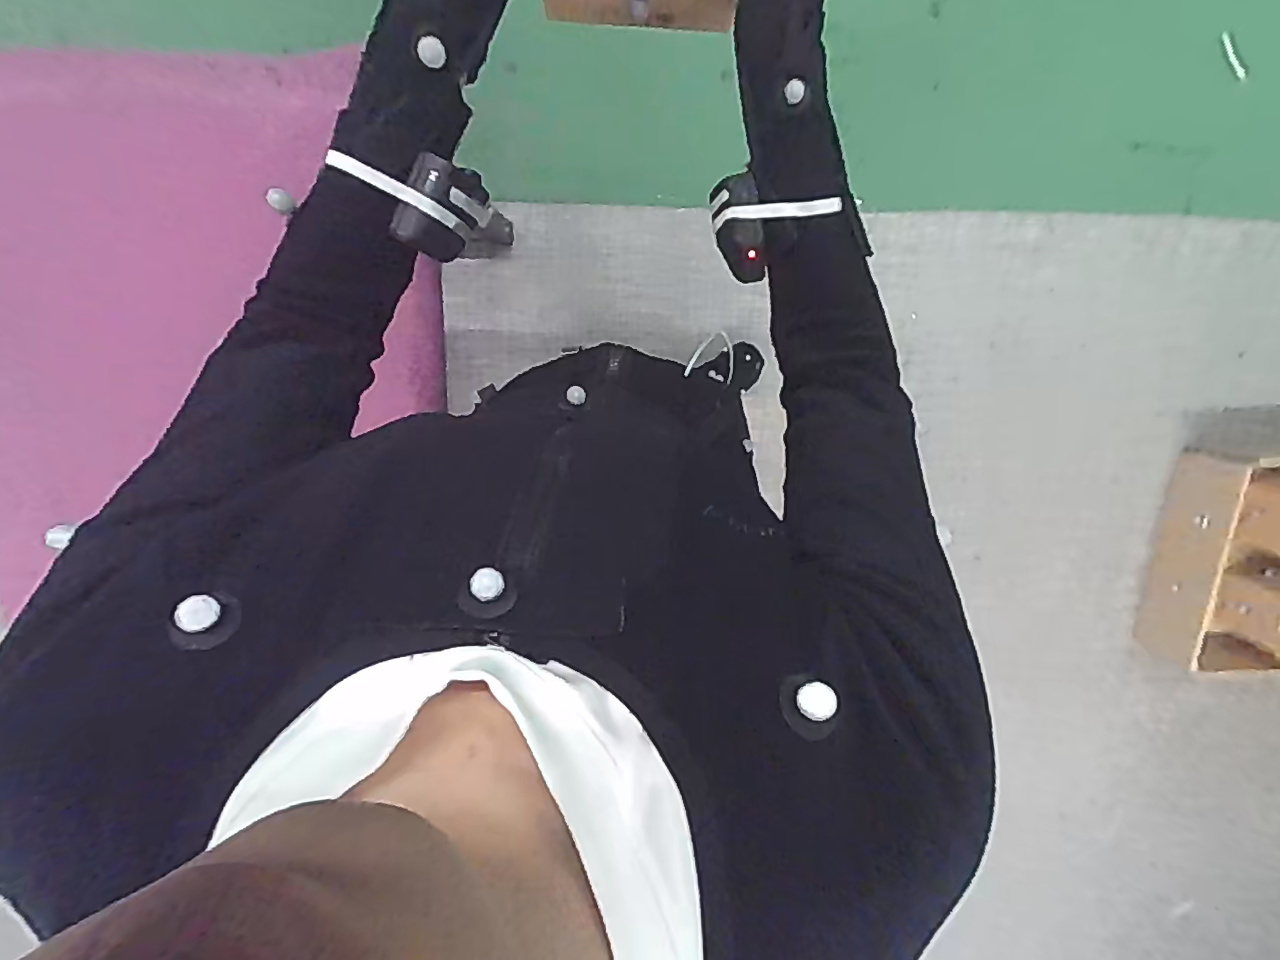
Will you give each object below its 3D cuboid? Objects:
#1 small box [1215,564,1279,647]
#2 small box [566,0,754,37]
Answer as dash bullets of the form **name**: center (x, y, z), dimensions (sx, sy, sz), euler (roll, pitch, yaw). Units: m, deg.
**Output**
- **small box**: center (1.774, 0.344, 1.503), dimensions (0.179, 0.176, 0.168), euler (-5, 103, 0)
- **small box**: center (0.020, -0.462, 0.381), dimensions (0.168, 0.176, 0.179), euler (3, 109, -4)
